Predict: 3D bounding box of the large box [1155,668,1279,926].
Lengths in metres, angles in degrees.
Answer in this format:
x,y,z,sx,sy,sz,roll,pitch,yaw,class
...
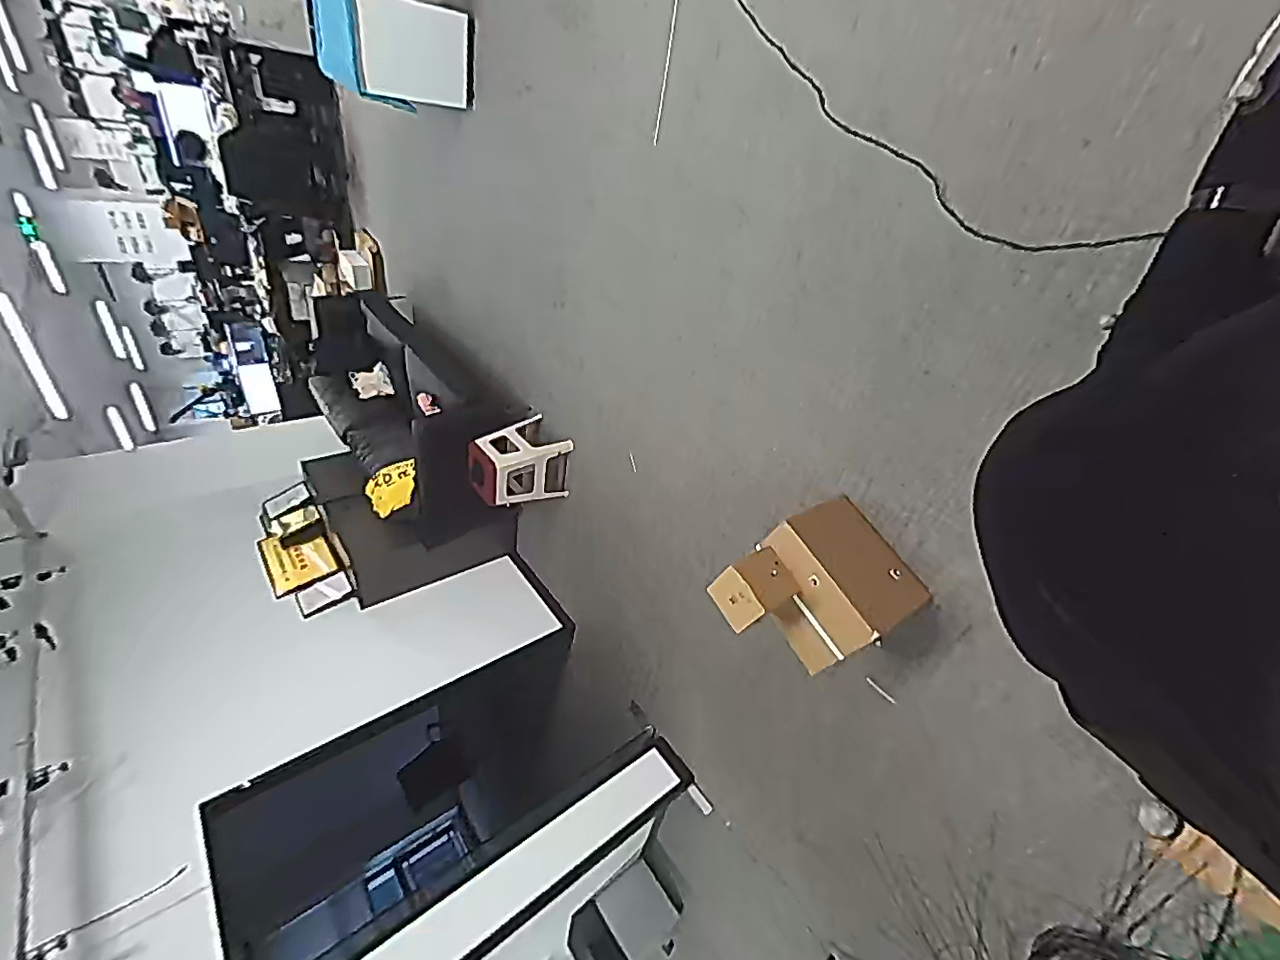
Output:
x,y,z,sx,sy,sz,roll,pitch,yaw,class
1.262,0.621,0.966,0.408,0.320,0.320,27,126,43,large box

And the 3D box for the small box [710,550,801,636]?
x,y,z,sx,sy,sz,roll,pitch,yaw,class
0.351,0.339,1.638,0.168,0.176,0.179,56,143,21,small box
